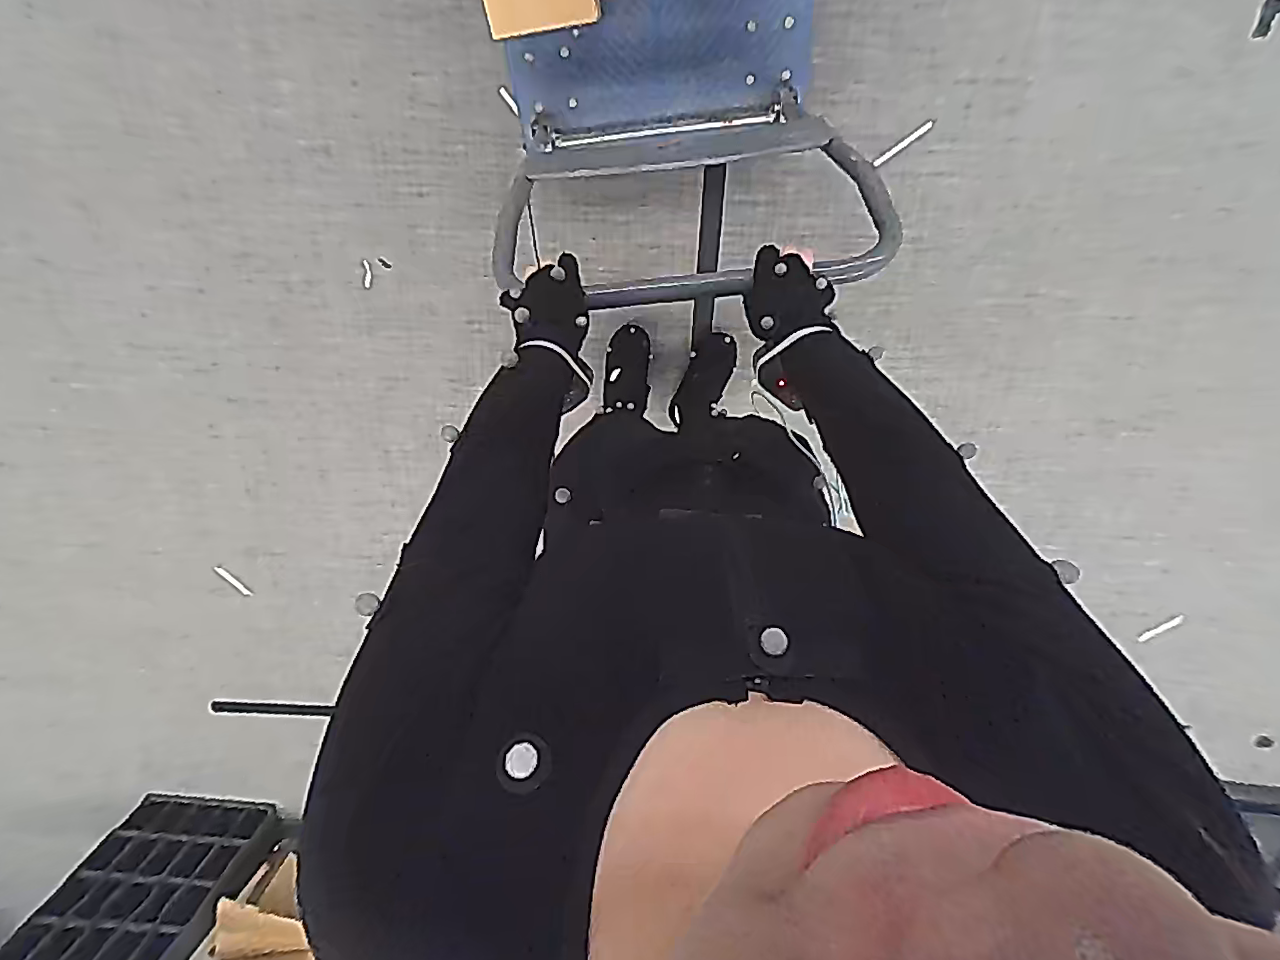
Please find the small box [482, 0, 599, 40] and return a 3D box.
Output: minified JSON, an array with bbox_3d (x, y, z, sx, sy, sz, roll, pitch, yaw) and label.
[{"bbox_3d":[-0.169,-0.837,0.885,0.179,0.176,0.168,-8,130,4],"label":"small box"}]
